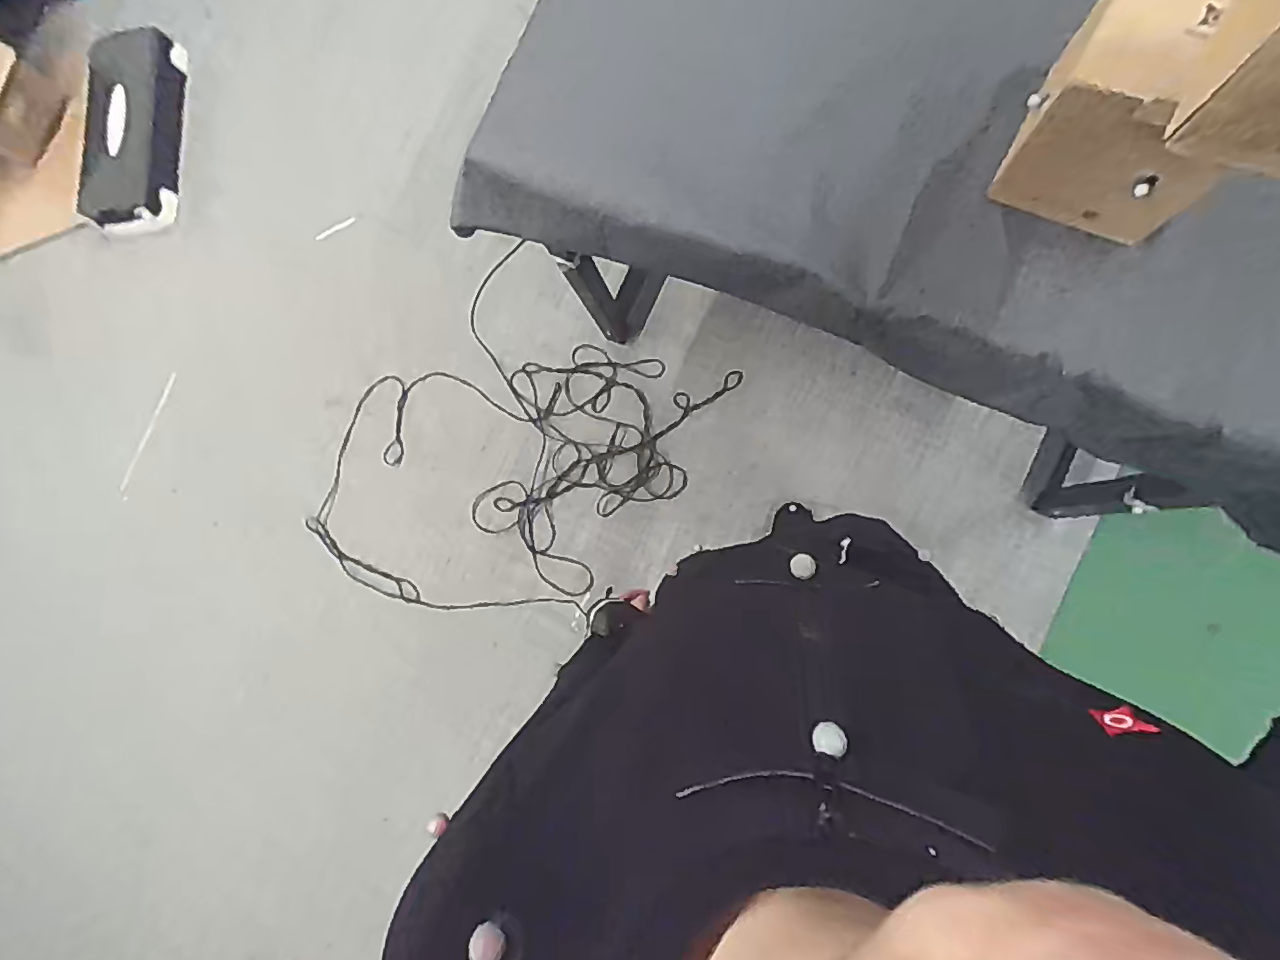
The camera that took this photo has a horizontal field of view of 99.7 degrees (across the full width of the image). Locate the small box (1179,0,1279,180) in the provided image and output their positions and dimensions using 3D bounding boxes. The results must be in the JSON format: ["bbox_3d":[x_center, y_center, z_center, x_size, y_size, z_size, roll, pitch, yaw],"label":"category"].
[{"bbox_3d":[0.475,-0.295,0.302,0.168,0.176,0.179,24,92,15],"label":"small box"}]

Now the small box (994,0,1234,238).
[{"bbox_3d":[0.498,-0.381,0.543,0.168,0.176,0.179,27,88,11],"label":"small box"}]
